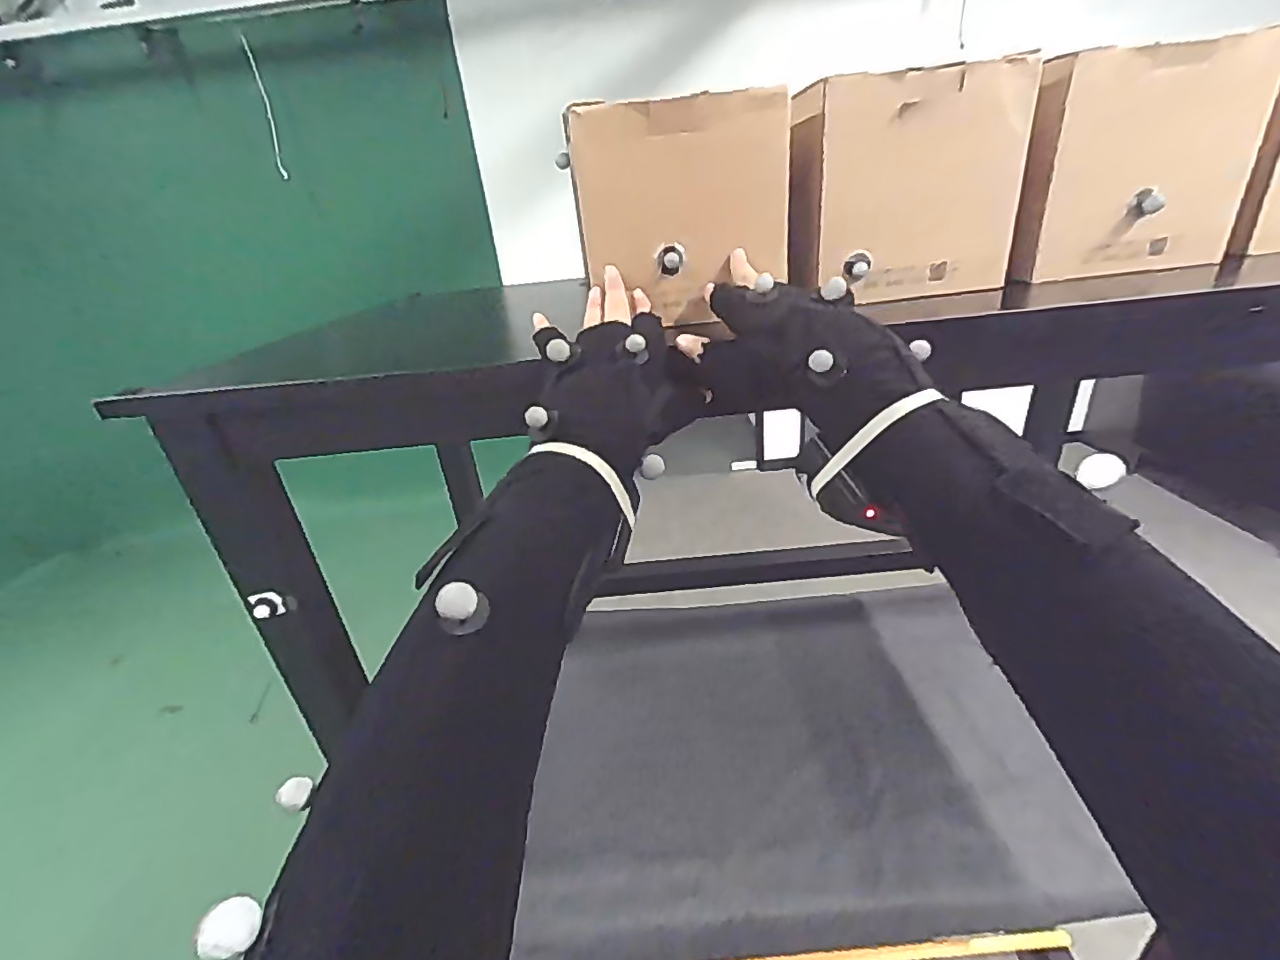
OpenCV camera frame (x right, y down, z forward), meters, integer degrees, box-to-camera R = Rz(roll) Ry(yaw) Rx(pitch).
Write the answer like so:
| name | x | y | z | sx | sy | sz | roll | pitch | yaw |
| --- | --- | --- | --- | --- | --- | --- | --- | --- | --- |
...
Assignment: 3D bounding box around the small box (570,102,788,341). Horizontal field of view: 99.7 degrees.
| name | x | y | z | sx | sy | sz | roll | pitch | yaw |
| --- | --- | --- | --- | --- | --- | --- | --- | --- | --- |
| small box | 0.031 | -0.234 | 0.509 | 0.168 | 0.176 | 0.179 | -7 | 27 | -1 |
